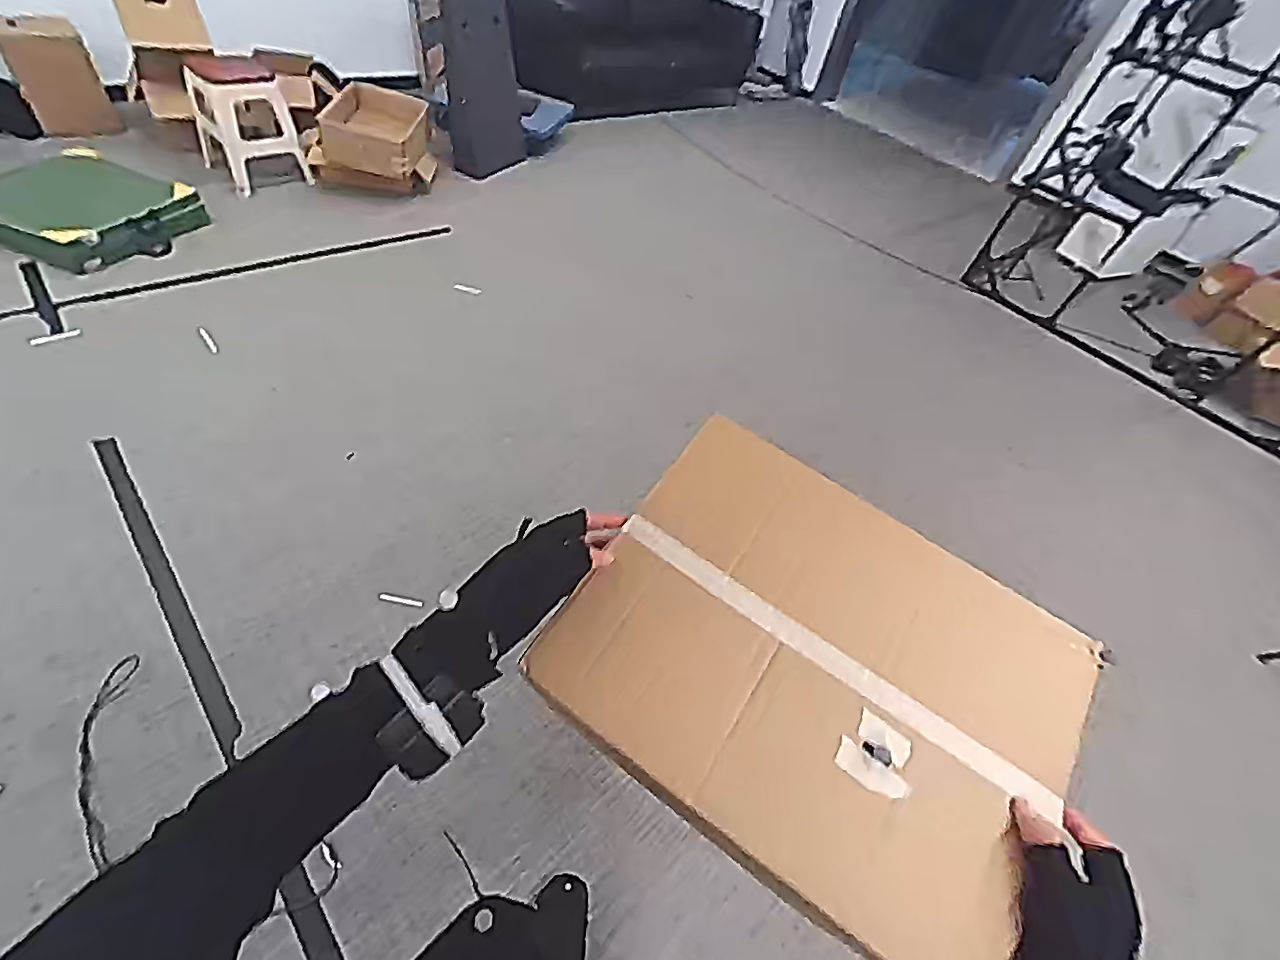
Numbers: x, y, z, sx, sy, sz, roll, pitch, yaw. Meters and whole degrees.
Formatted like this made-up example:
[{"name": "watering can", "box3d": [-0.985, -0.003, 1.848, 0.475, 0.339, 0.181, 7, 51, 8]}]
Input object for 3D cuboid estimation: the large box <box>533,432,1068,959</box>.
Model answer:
[{"name": "large box", "box3d": [0.139, 0.224, 0.608, 0.408, 0.320, 0.320, 33, 65, 12]}]
